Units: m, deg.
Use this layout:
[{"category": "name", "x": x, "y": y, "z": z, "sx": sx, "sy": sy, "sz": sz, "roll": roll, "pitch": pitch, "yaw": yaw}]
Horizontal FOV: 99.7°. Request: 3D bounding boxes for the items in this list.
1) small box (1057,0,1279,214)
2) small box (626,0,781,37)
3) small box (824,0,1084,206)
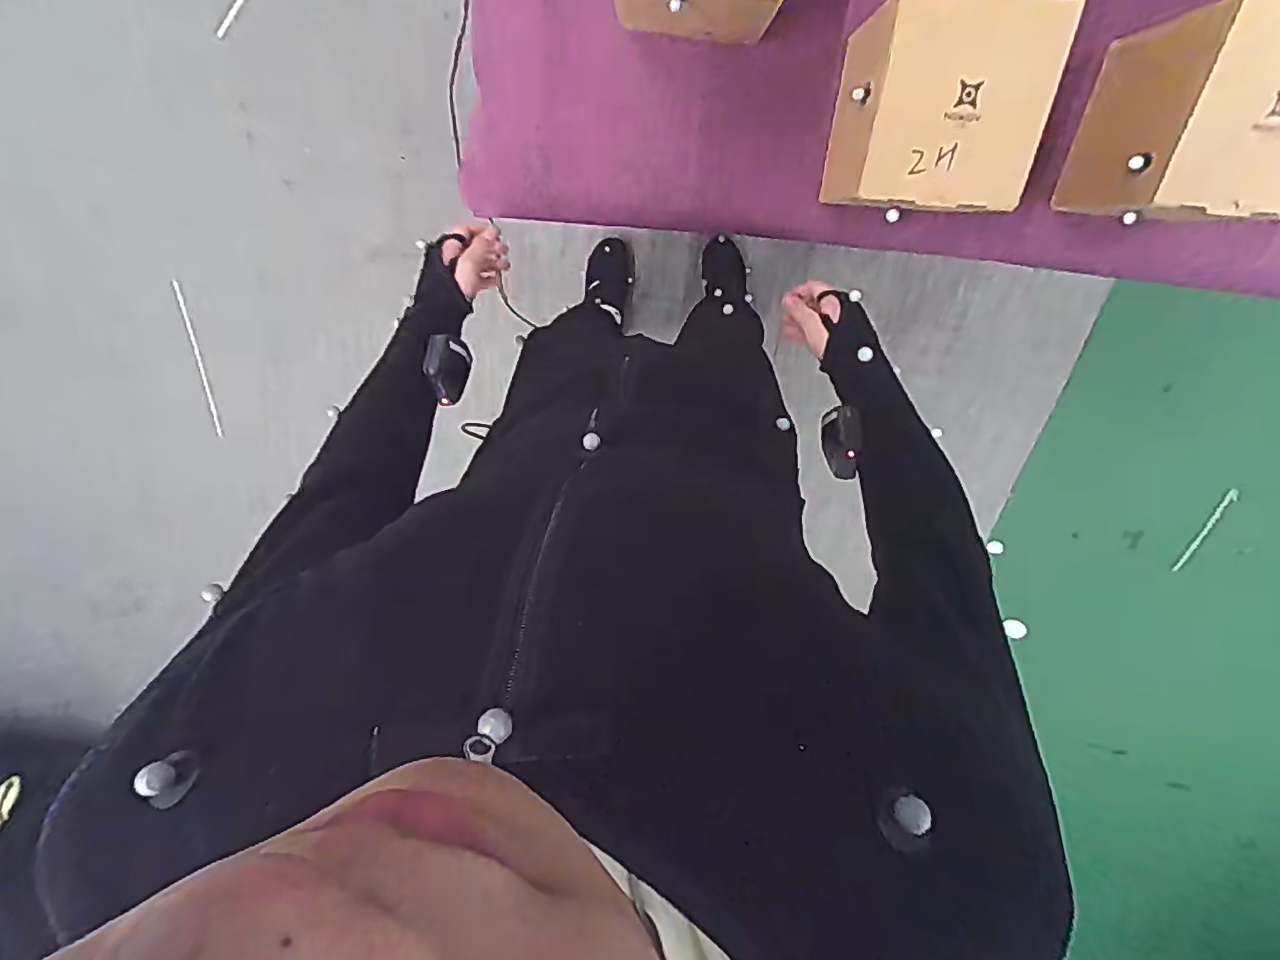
[{"category": "small box", "x": 0.613, "y": -0.396, "z": 0.591, "sx": 0.168, "sy": 0.176, "sz": 0.179, "roll": 5, "pitch": 118, "yaw": 0}, {"category": "small box", "x": 0.067, "y": -0.566, "z": 0.519, "sx": 0.168, "sy": 0.176, "sz": 0.179, "roll": 7, "pitch": 118, "yaw": 0}, {"category": "small box", "x": 0.317, "y": -0.407, "z": 0.594, "sx": 0.168, "sy": 0.176, "sz": 0.179, "roll": 5, "pitch": 117, "yaw": 0}]
